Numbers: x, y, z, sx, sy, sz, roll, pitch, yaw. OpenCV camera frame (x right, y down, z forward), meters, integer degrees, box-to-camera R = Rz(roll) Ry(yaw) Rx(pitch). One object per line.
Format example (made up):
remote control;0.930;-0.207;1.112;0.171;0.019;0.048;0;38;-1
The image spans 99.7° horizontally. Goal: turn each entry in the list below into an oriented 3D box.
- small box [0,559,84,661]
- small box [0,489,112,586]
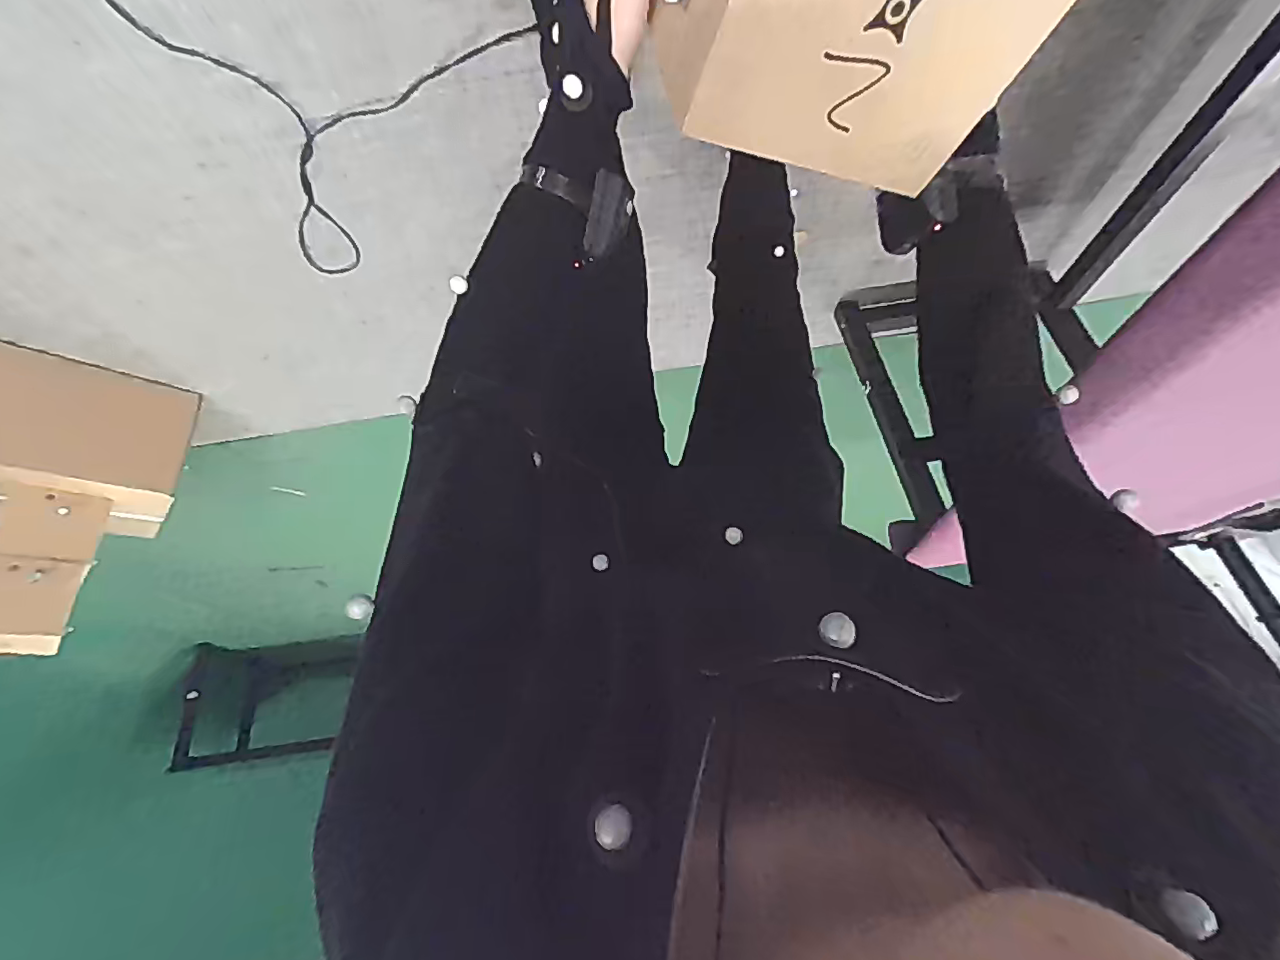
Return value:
small box;-1.331;0.281;1.153;0.179;0.176;0.168;-31;146;35
small box;-1.354;0.142;1.235;0.179;0.176;0.168;-29;146;33
